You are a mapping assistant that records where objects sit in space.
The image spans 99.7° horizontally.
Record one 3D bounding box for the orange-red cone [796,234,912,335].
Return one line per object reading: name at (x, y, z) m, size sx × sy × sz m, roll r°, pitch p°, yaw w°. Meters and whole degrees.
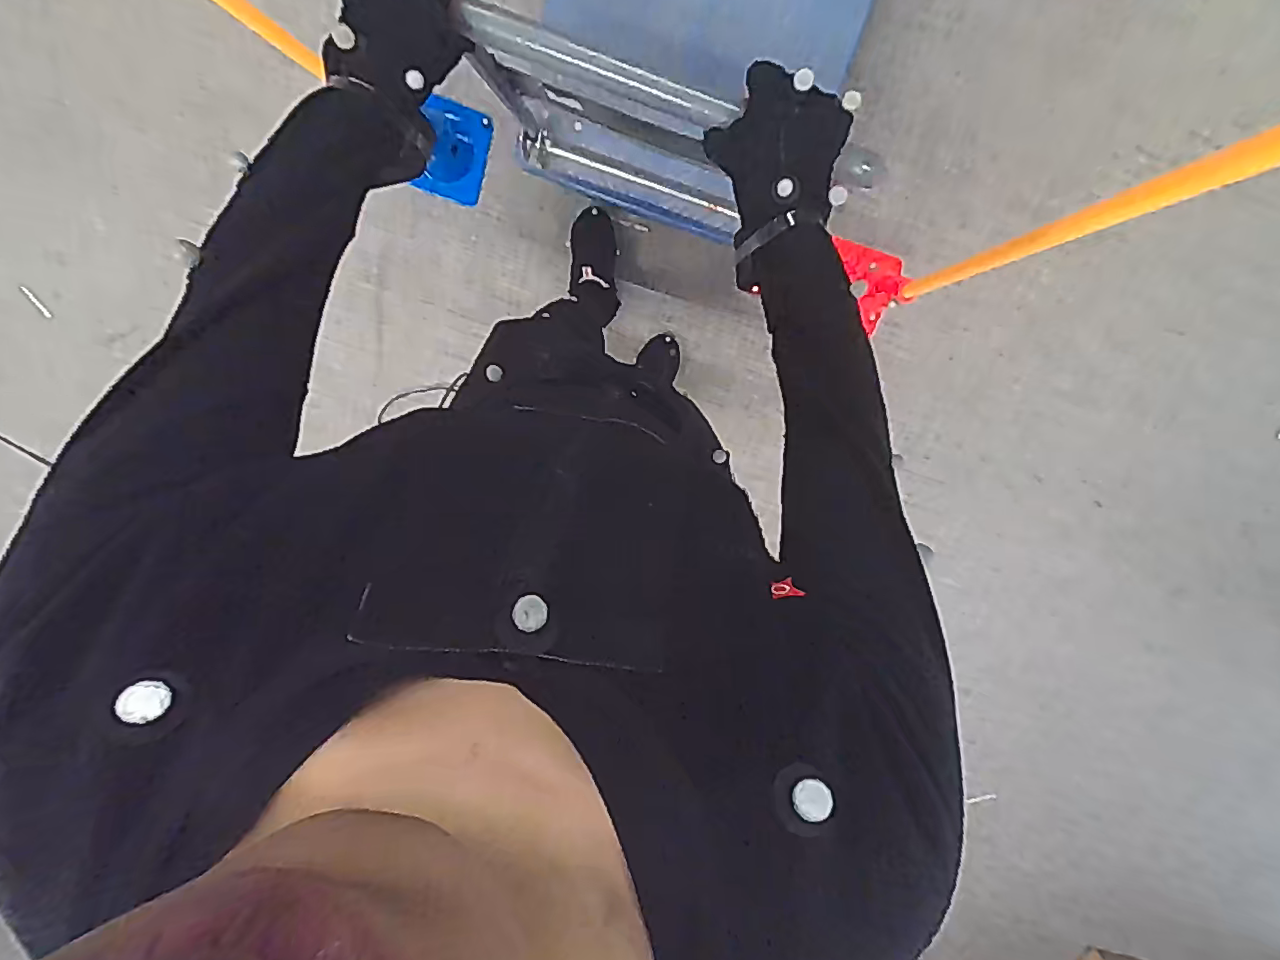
orange-red cone at (0.491, -0.417, 1.157) m, size 0.199 × 0.360 × 0.198 m, roll 19°, pitch 109°, yaw -2°
